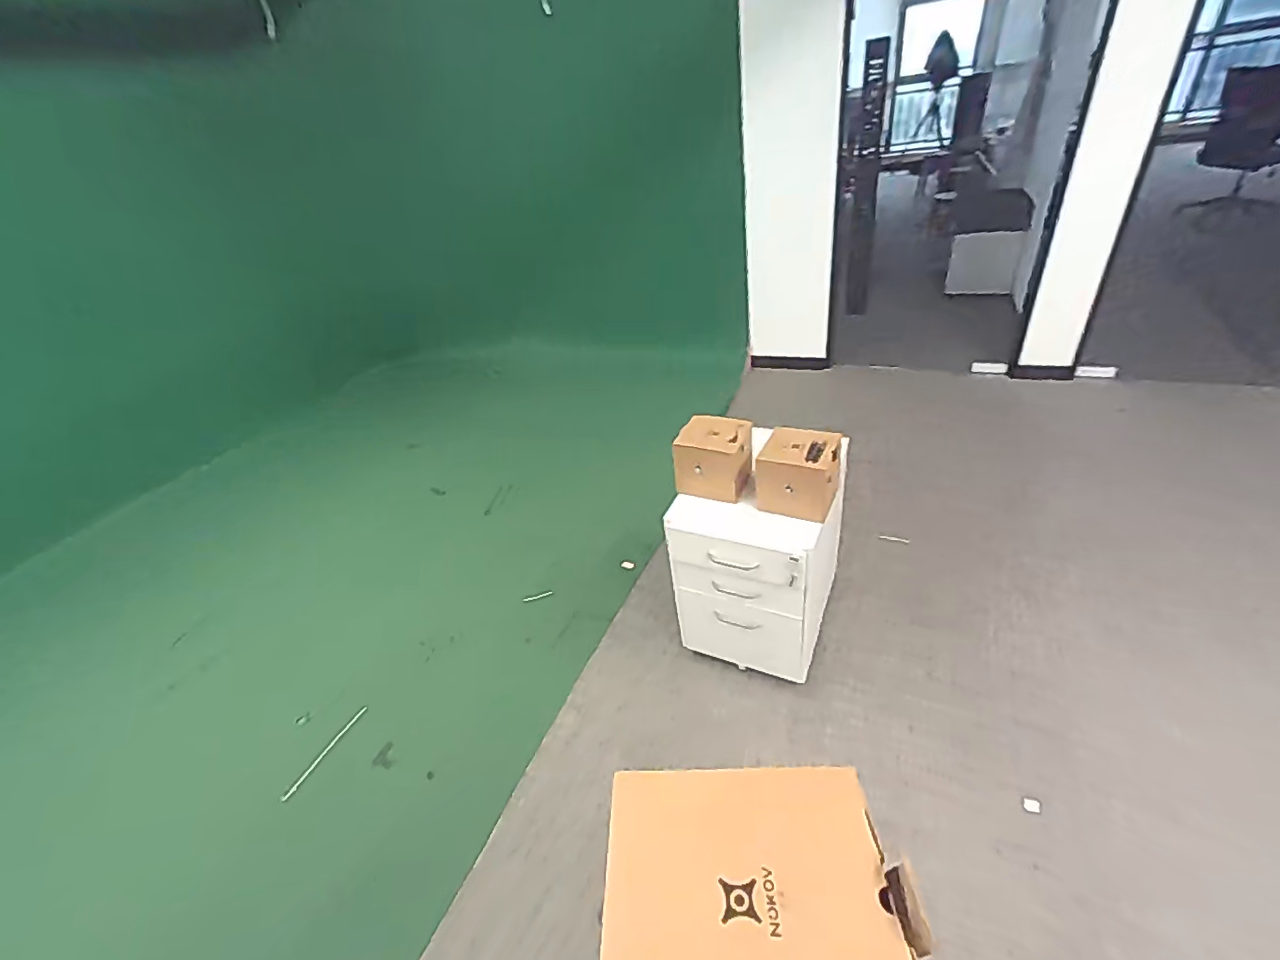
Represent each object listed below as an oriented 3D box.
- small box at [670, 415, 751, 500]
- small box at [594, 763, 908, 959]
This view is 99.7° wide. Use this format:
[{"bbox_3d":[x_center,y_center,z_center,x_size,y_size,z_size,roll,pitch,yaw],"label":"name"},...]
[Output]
[{"bbox_3d":[0.201,-0.063,1.504,0.179,0.176,0.168,10,40,25],"label":"small box"},{"bbox_3d":[0.069,0.321,0.366,0.179,0.176,0.168,-3,29,4],"label":"small box"}]
